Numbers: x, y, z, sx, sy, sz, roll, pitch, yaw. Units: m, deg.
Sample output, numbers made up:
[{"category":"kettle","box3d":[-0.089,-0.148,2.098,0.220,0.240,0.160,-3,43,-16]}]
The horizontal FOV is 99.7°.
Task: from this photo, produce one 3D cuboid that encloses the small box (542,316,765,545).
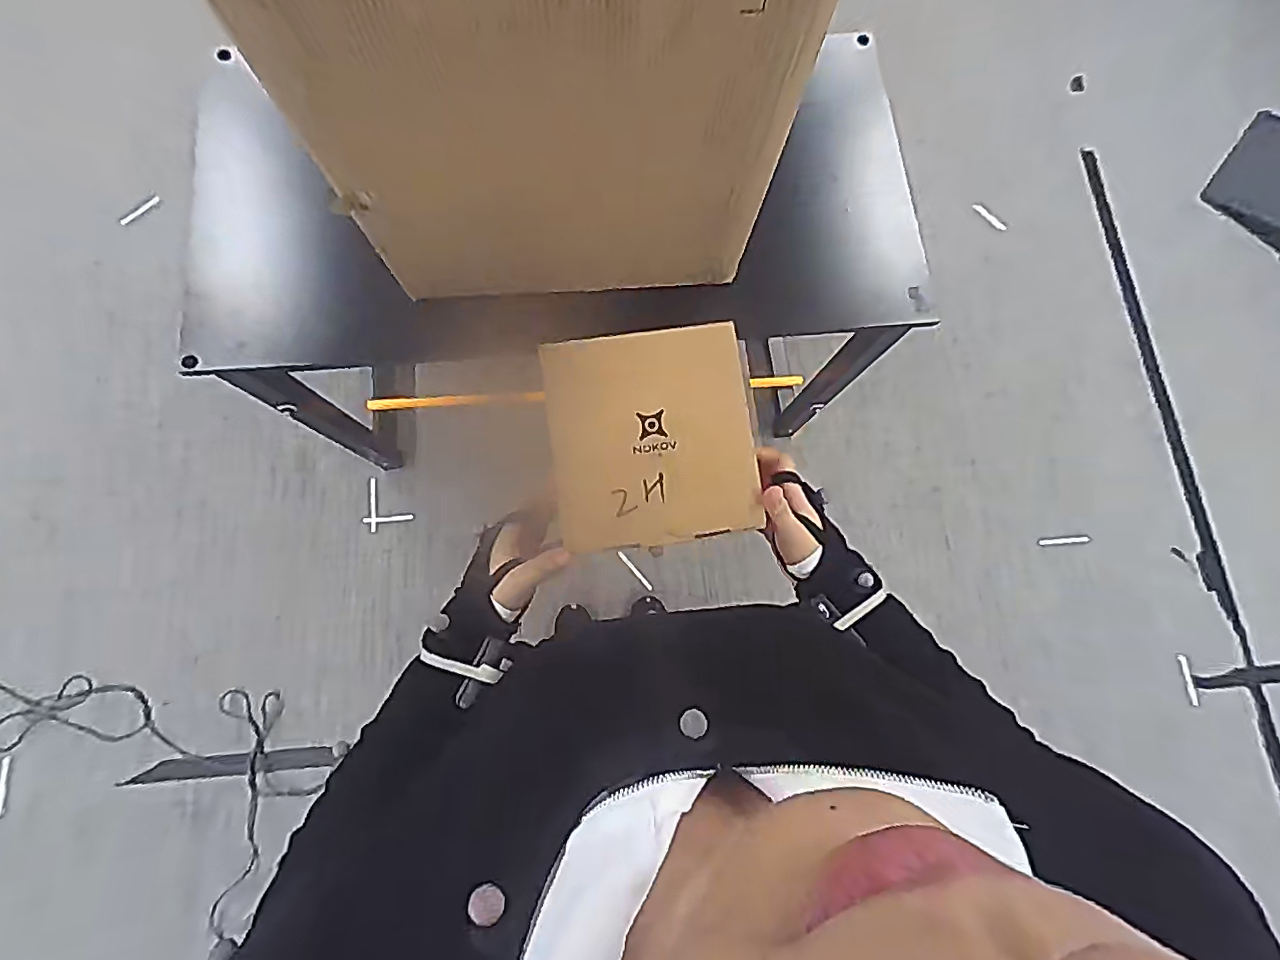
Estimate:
[{"category":"small box","box3d":[0.005,-0.034,0.515,0.168,0.176,0.179,-8,85,-4]}]
